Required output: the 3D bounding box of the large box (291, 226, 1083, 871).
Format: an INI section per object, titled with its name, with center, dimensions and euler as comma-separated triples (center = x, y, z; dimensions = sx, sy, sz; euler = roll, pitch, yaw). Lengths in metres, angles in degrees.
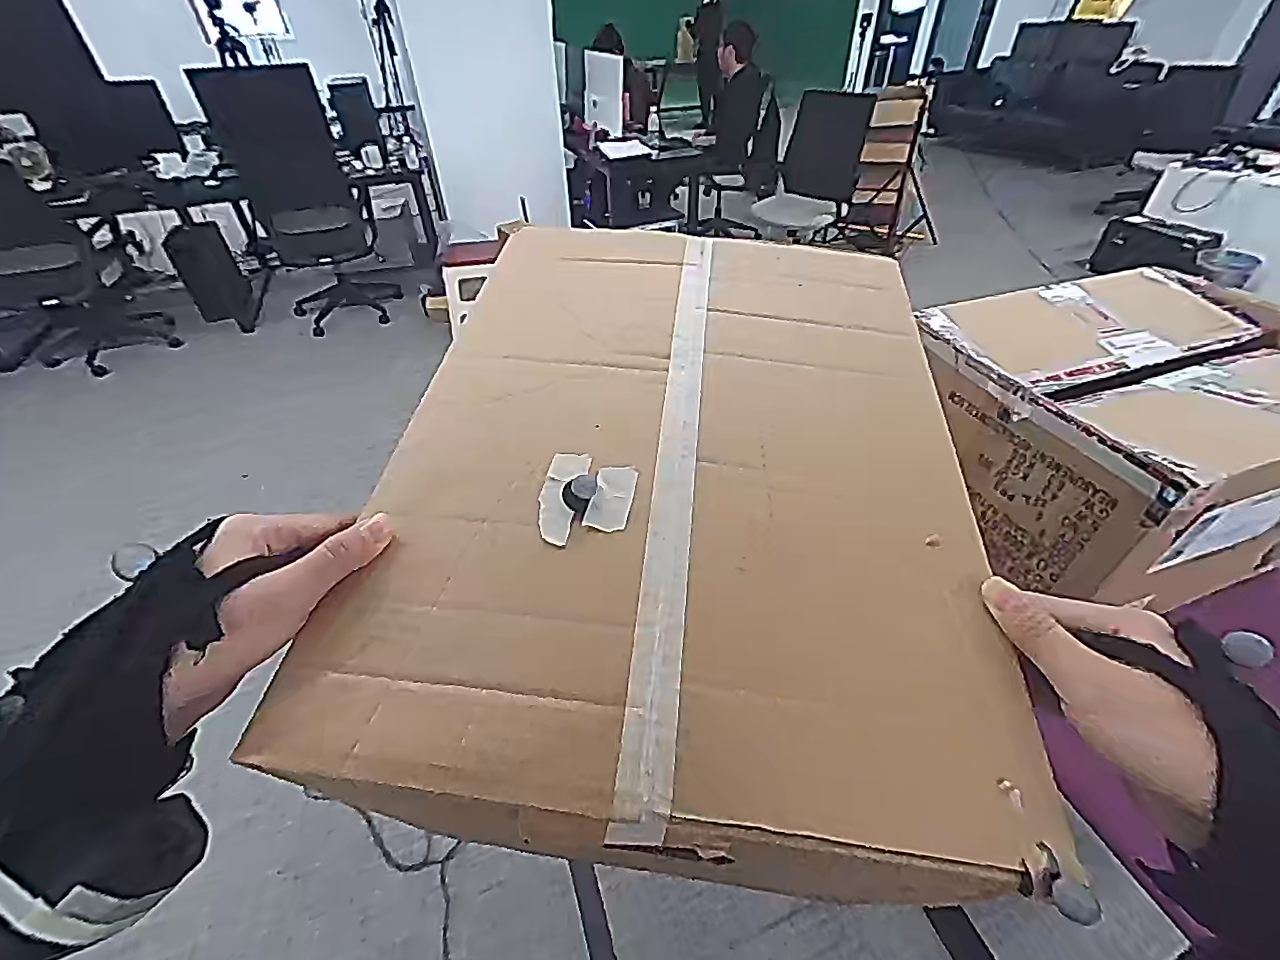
[large box]
center = 0.028, 0.051, 0.441
dimensions = 0.320, 0.320, 0.408
euler = 5, 53, 4
